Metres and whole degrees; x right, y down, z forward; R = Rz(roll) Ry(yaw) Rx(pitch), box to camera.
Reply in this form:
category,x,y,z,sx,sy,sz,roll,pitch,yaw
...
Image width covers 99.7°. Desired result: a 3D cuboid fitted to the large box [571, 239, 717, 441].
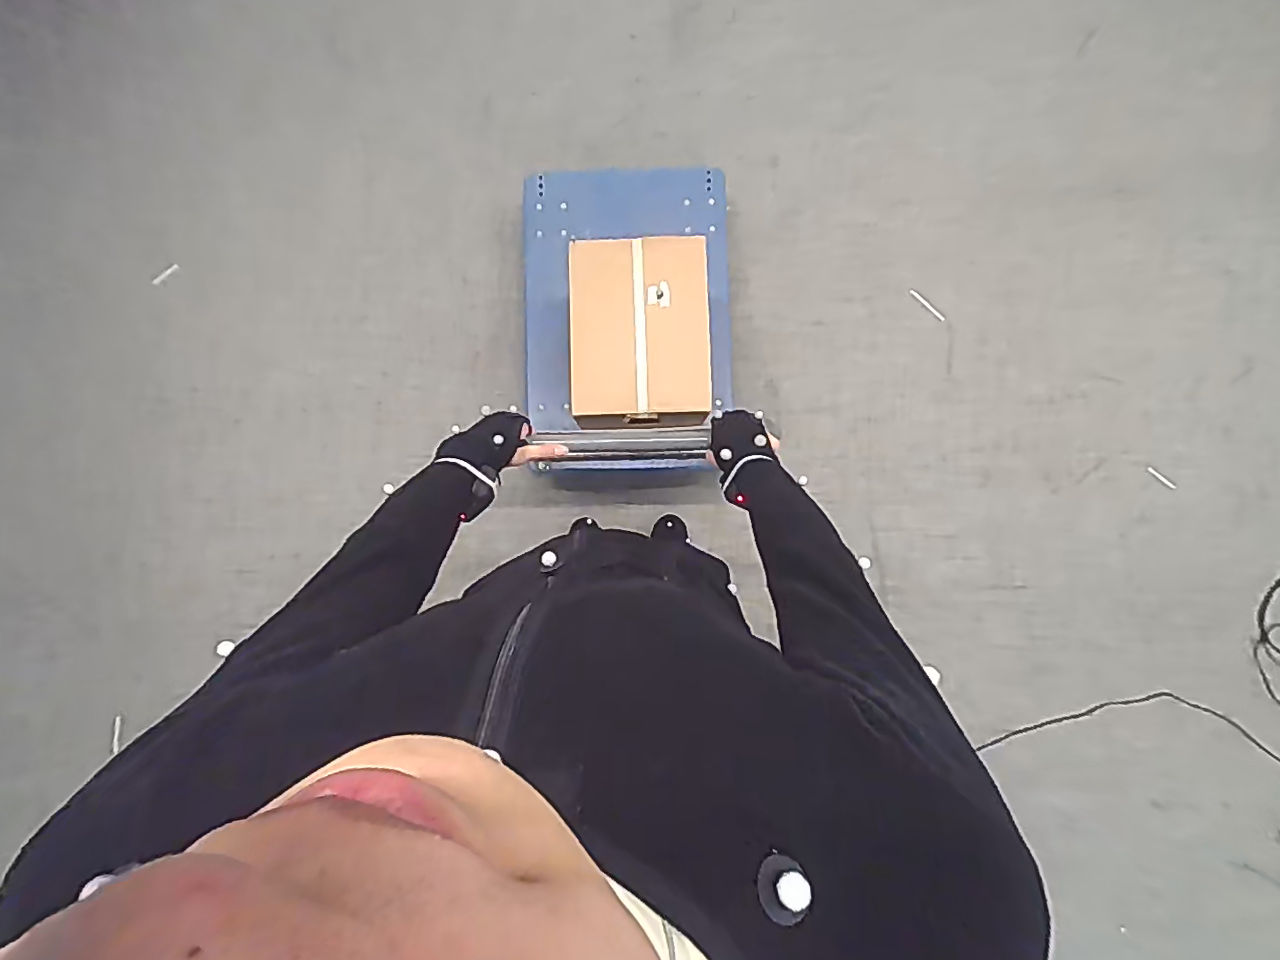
category,x,y,z,sx,sy,sz,roll,pitch,yaw
large box,0.008,-0.323,1.341,0.320,0.320,0.408,-2,85,0
